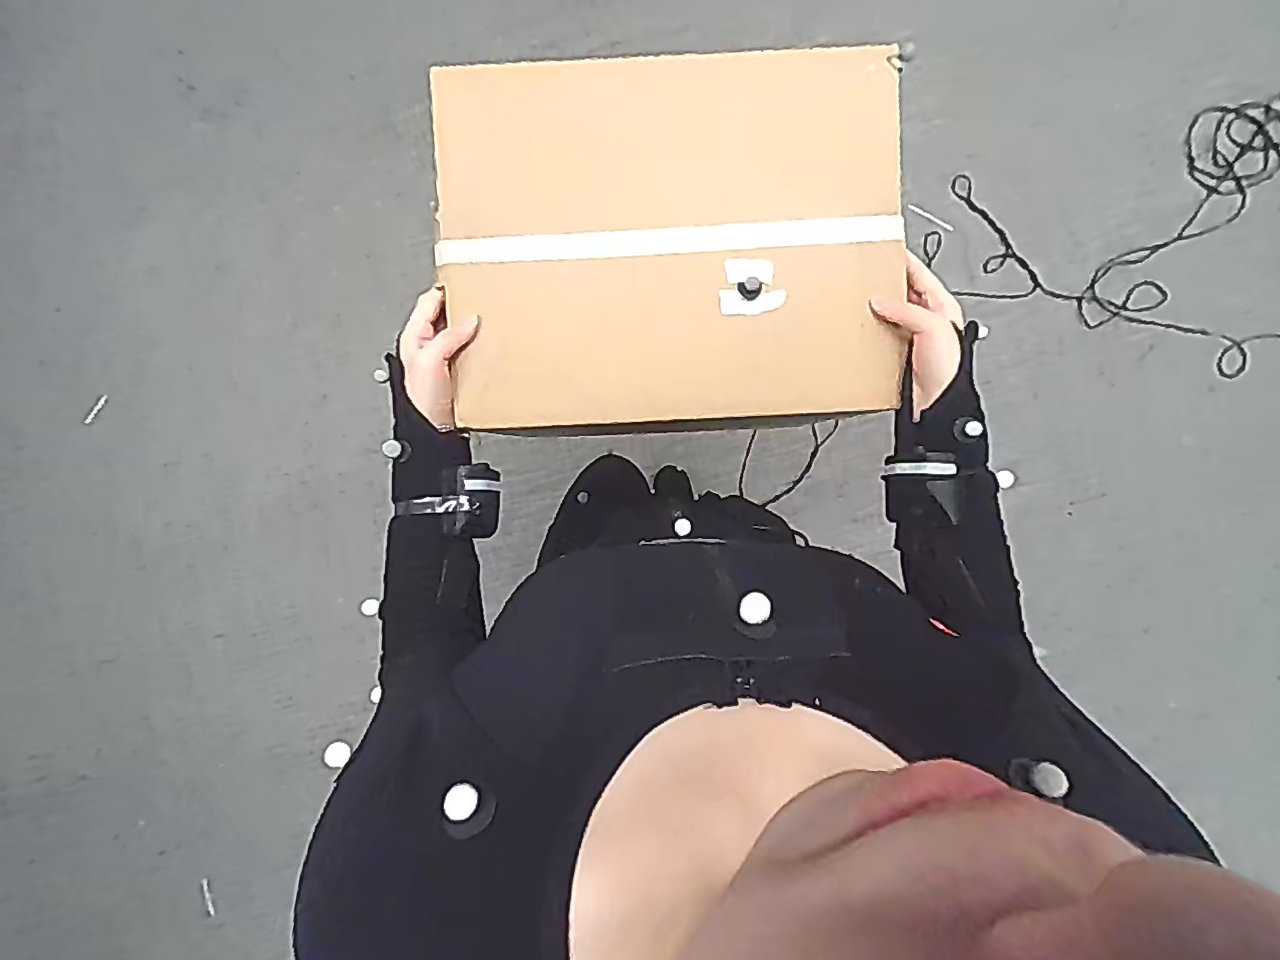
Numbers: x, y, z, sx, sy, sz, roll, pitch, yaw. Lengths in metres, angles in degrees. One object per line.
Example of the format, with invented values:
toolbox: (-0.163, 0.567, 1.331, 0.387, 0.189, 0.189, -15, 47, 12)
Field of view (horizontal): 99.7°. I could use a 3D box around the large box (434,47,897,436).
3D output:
large box: (0.022, -0.224, 0.630, 0.408, 0.320, 0.320, -4, 93, -1)
